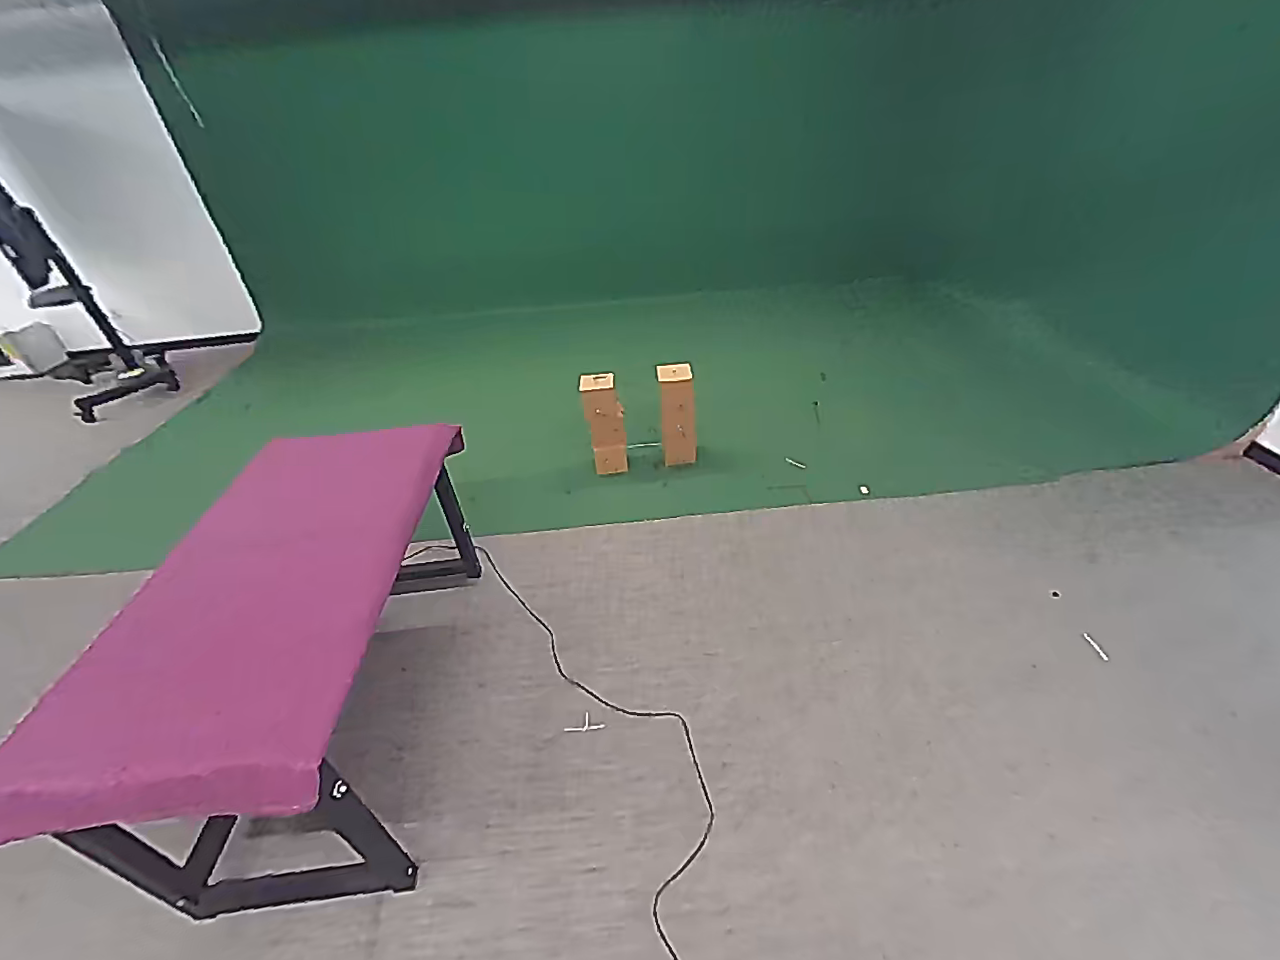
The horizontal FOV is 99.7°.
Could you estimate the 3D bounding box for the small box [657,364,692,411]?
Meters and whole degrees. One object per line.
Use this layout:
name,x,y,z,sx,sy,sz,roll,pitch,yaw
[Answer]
small box,0.172,-0.466,2.720,0.168,0.176,0.179,-5,37,2

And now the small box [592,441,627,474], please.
small box,-0.162,-0.146,2.892,0.168,0.176,0.179,-7,35,-2

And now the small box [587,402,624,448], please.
small box,-0.177,-0.285,2.809,0.179,0.176,0.168,-8,35,-2

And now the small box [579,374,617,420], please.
small box,-0.209,-0.416,2.715,0.168,0.176,0.179,-5,35,1

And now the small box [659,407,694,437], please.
small box,0.189,-0.333,2.817,0.168,0.176,0.179,-5,38,0
